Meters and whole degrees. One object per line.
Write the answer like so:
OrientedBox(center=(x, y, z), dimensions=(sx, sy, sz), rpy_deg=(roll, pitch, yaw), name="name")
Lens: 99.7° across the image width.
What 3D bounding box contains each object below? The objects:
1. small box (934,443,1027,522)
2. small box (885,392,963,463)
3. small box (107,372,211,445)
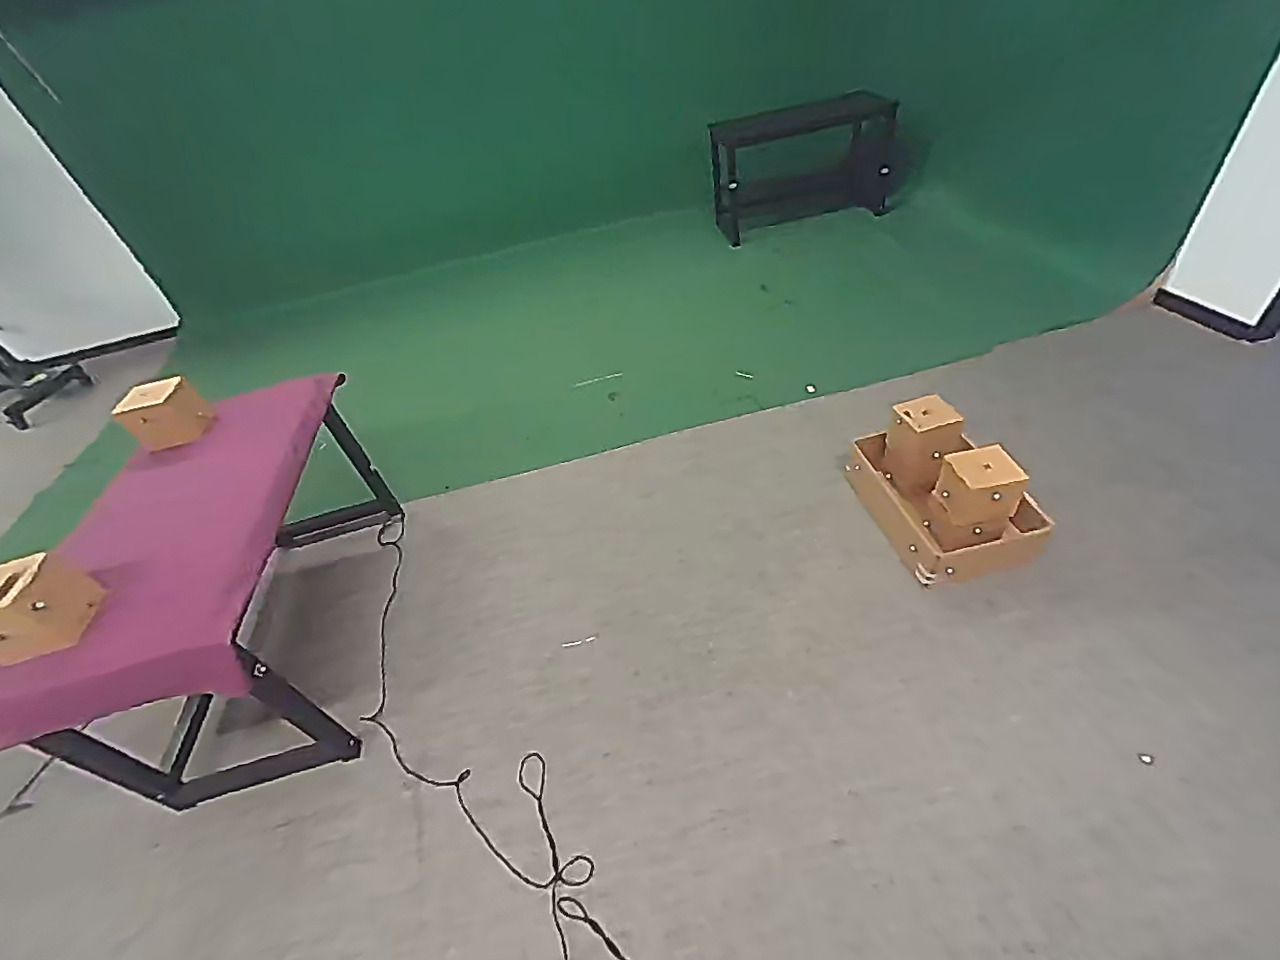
OrientedBox(center=(1.077, 0.010, 1.727), dimensions=(0.179, 0.176, 0.168), rpy_deg=(-12, 43, 3), name="small box")
OrientedBox(center=(1.014, -0.186, 1.946), dimensions=(0.179, 0.176, 0.168), rpy_deg=(-15, 43, -3), name="small box")
OrientedBox(center=(-1.647, -0.243, 1.865), dimensions=(0.179, 0.176, 0.168), rpy_deg=(-13, 45, -2), name="small box")
